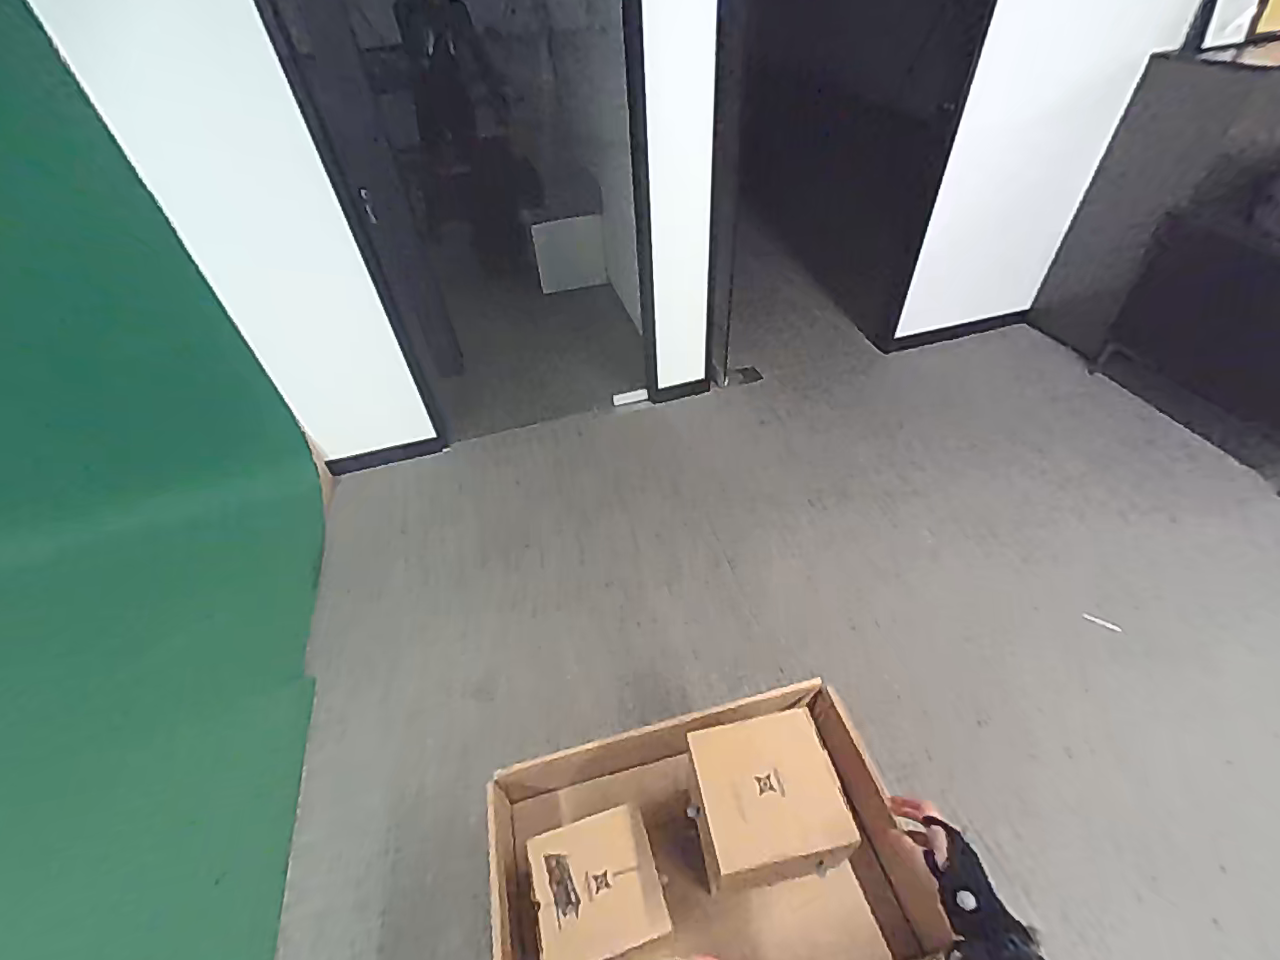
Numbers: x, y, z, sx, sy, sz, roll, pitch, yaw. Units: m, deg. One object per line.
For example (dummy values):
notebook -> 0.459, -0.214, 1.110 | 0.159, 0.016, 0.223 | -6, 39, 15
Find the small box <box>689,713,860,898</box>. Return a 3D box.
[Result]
small box -> 0.169, 0.447, 0.741 | 0.179, 0.176, 0.168 | -11, 45, -3
